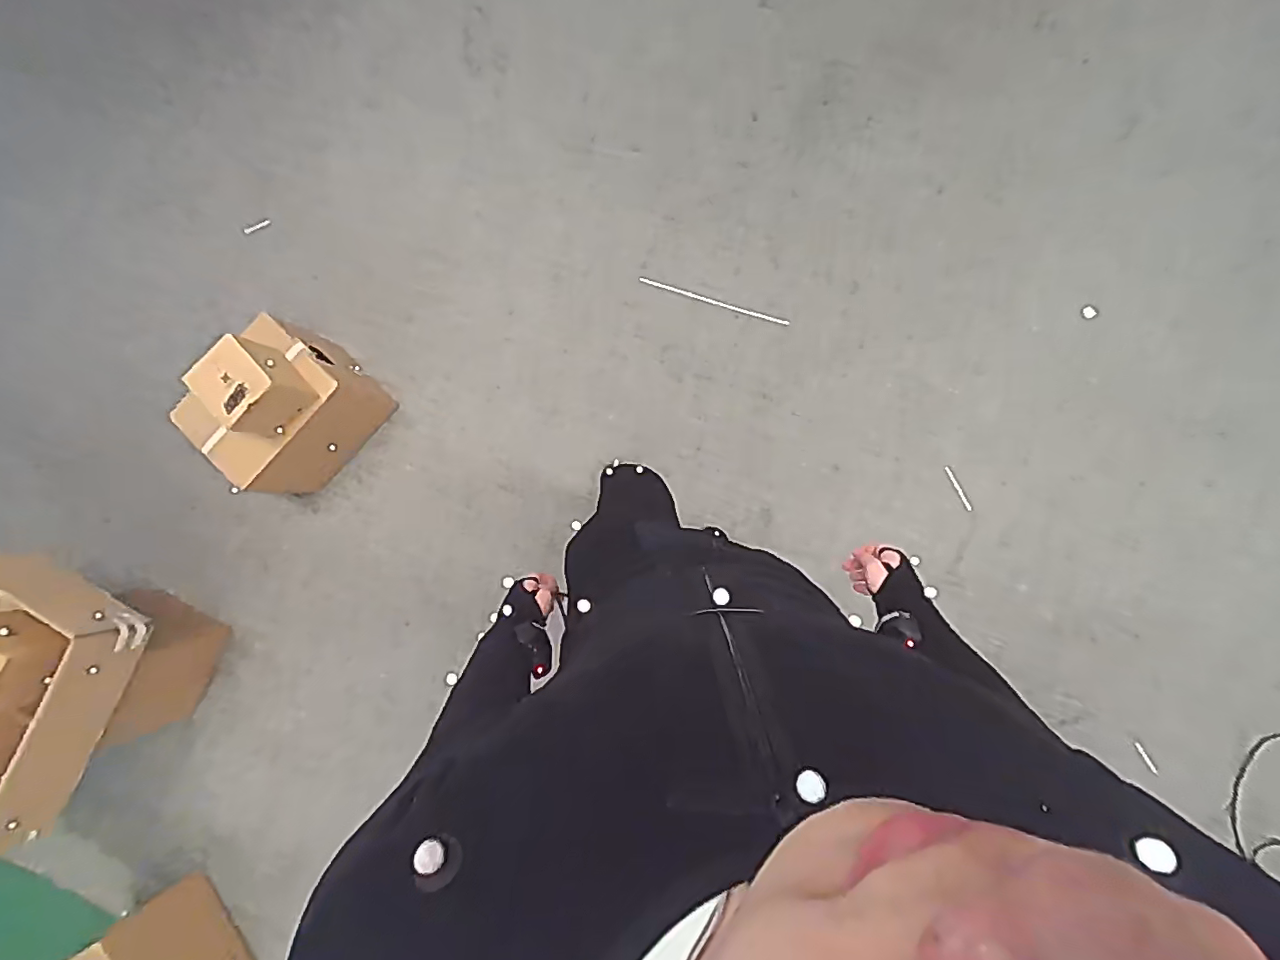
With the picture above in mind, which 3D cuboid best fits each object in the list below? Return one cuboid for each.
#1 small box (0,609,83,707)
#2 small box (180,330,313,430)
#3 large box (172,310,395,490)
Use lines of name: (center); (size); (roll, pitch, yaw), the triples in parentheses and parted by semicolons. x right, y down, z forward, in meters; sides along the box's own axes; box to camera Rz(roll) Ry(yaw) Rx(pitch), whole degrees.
small box: (-1.504, 0.421, 1.277); (0.179, 0.176, 0.168); (28, 90, 4)
small box: (-0.978, -0.242, 1.362); (0.168, 0.176, 0.179); (-43, 86, 2)
large box: (-1.034, -0.217, 1.613); (0.320, 0.320, 0.408); (43, 93, 6)
